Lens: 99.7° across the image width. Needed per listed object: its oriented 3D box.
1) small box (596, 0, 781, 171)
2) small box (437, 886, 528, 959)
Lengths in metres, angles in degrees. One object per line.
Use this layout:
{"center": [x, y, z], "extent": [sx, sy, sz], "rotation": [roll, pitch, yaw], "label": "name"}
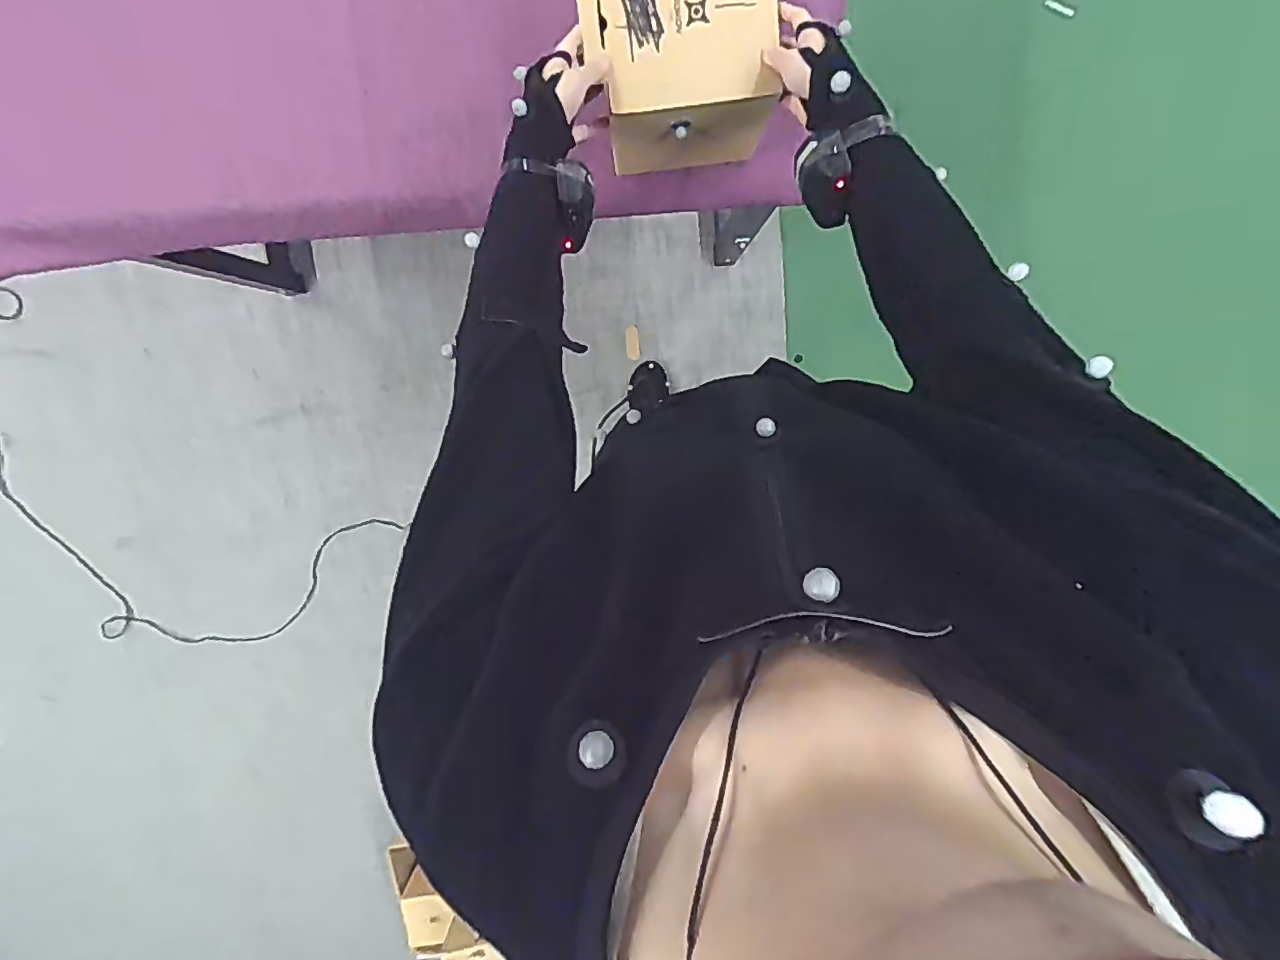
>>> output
{"center": [0.048, -0.469, 0.605], "extent": [0.179, 0.176, 0.168], "rotation": [-6, 101, 1], "label": "small box"}
{"center": [-0.413, 1.250, 1.453], "extent": [0.168, 0.176, 0.179], "rotation": [-16, 100, 3], "label": "small box"}
